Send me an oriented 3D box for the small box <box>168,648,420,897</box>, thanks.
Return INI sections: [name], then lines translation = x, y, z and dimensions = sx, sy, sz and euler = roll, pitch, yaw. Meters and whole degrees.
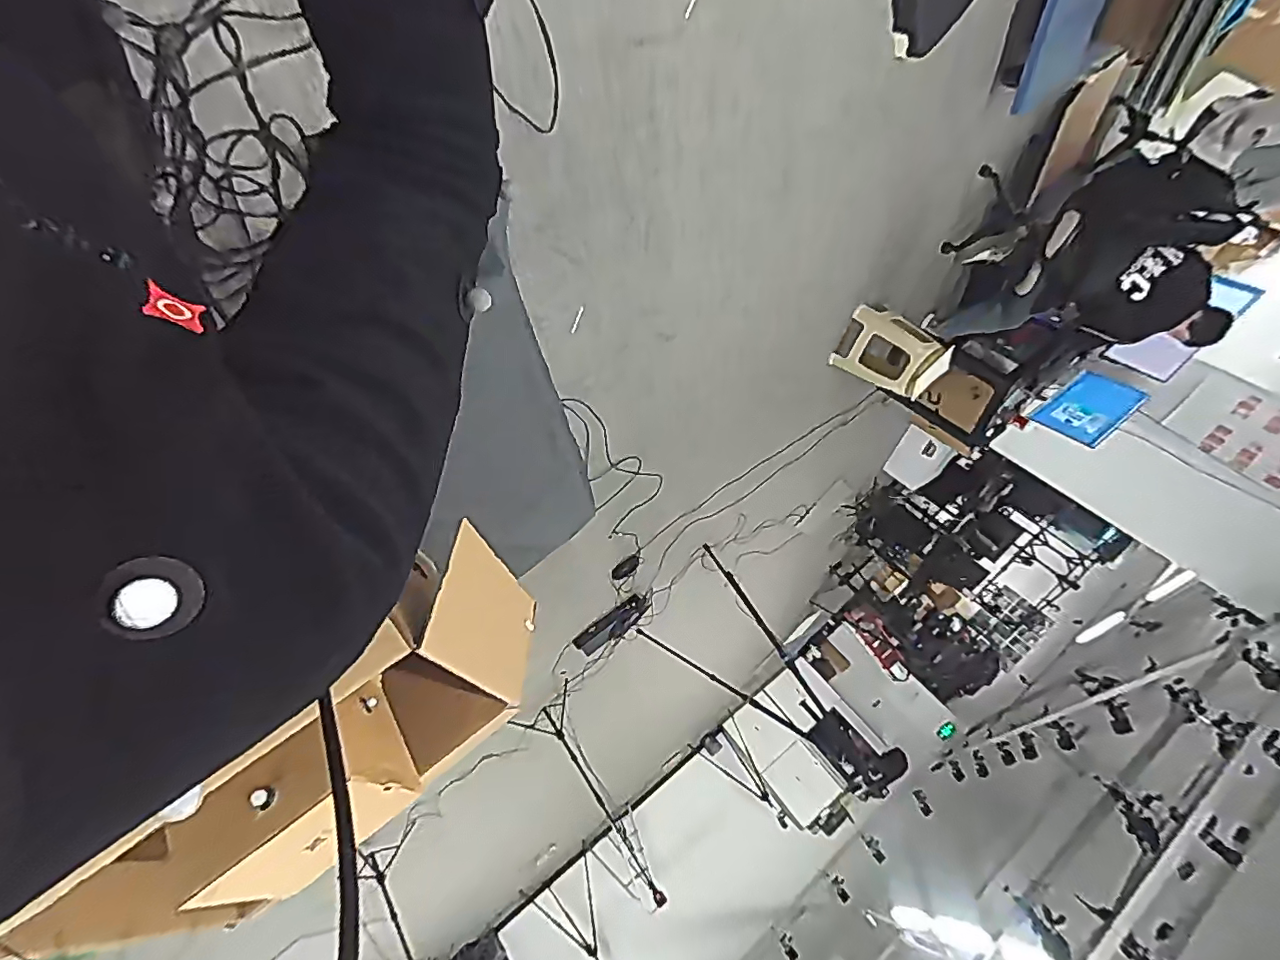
[small box]
translation = -0.396, 0.331, 0.625
dimensions = 0.179, 0.176, 0.168
euler = -35, 149, -14
